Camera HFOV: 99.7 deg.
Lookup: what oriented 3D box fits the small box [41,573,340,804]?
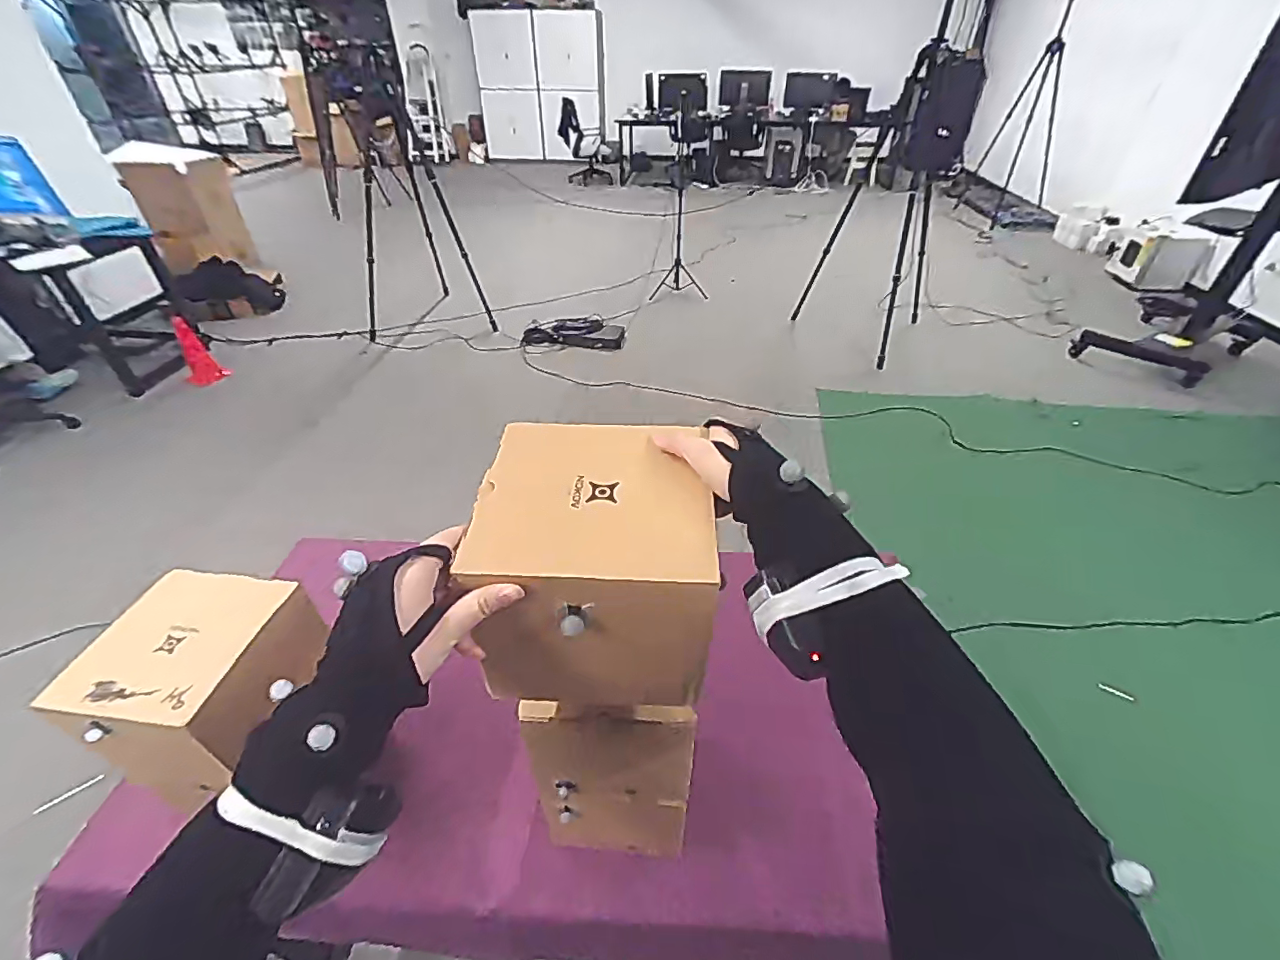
[{"bbox_3d":[-0.480,0.233,0.619,0.168,0.176,0.179,3,38,8],"label":"small box"}]

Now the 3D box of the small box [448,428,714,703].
[{"bbox_3d":[-0.035,0.073,0.461,0.179,0.176,0.168,1,41,3],"label":"small box"}]

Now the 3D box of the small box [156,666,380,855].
[{"bbox_3d":[-0.477,0.362,0.722,0.168,0.176,0.179,4,40,7],"label":"small box"}]

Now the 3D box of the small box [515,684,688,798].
[{"bbox_3d":[-0.030,0.233,0.609,0.168,0.176,0.179,1,37,2],"label":"small box"}]
